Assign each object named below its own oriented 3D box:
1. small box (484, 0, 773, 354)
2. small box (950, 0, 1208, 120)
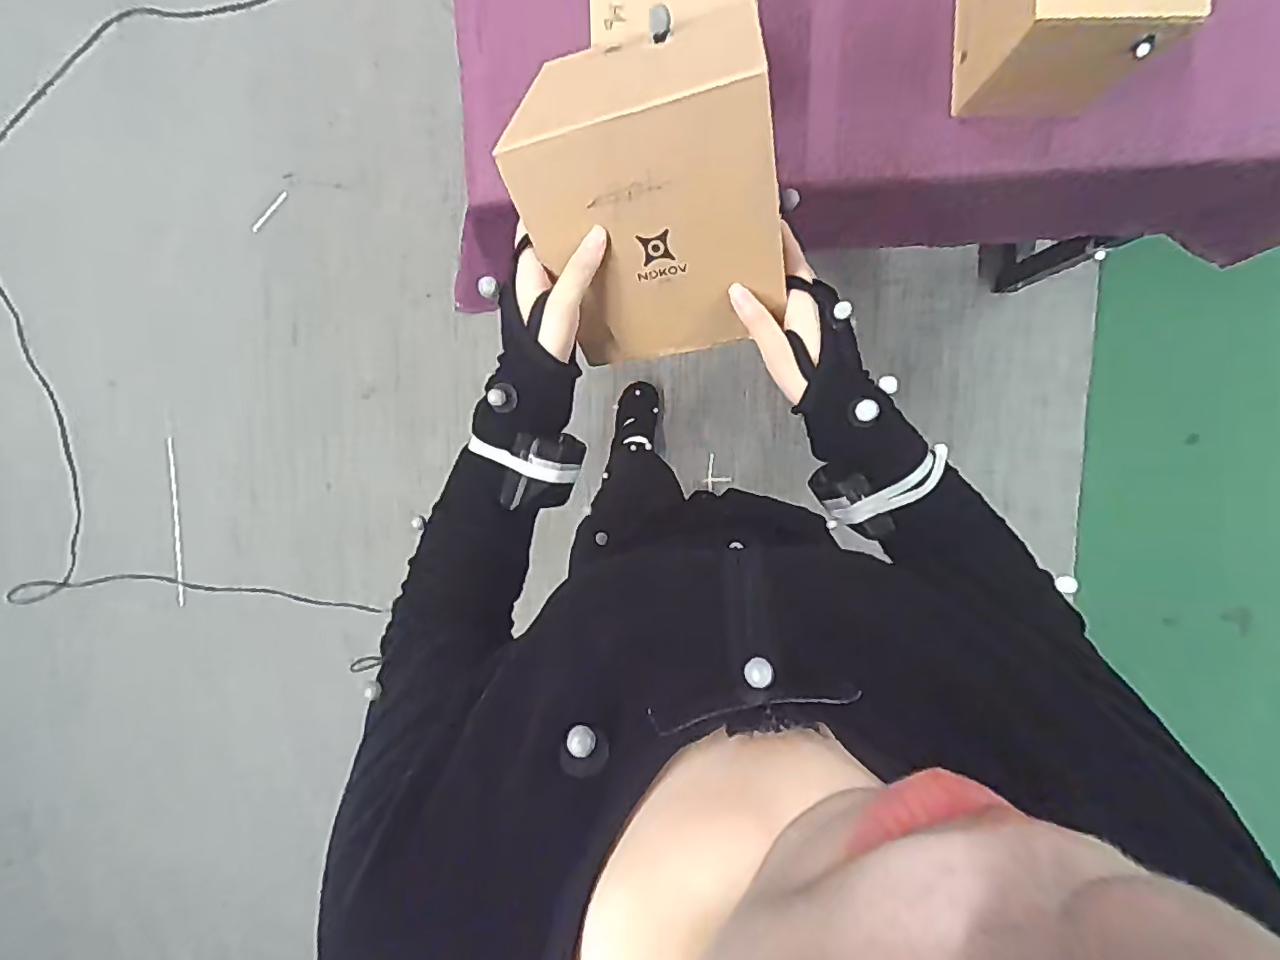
[{"bbox_3d":[0.012,-0.227,0.415,0.168,0.179,0.176,-5,51,15],"label":"small box"},{"bbox_3d":[0.486,-0.545,0.622,0.179,0.176,0.168,1,93,2],"label":"small box"}]
